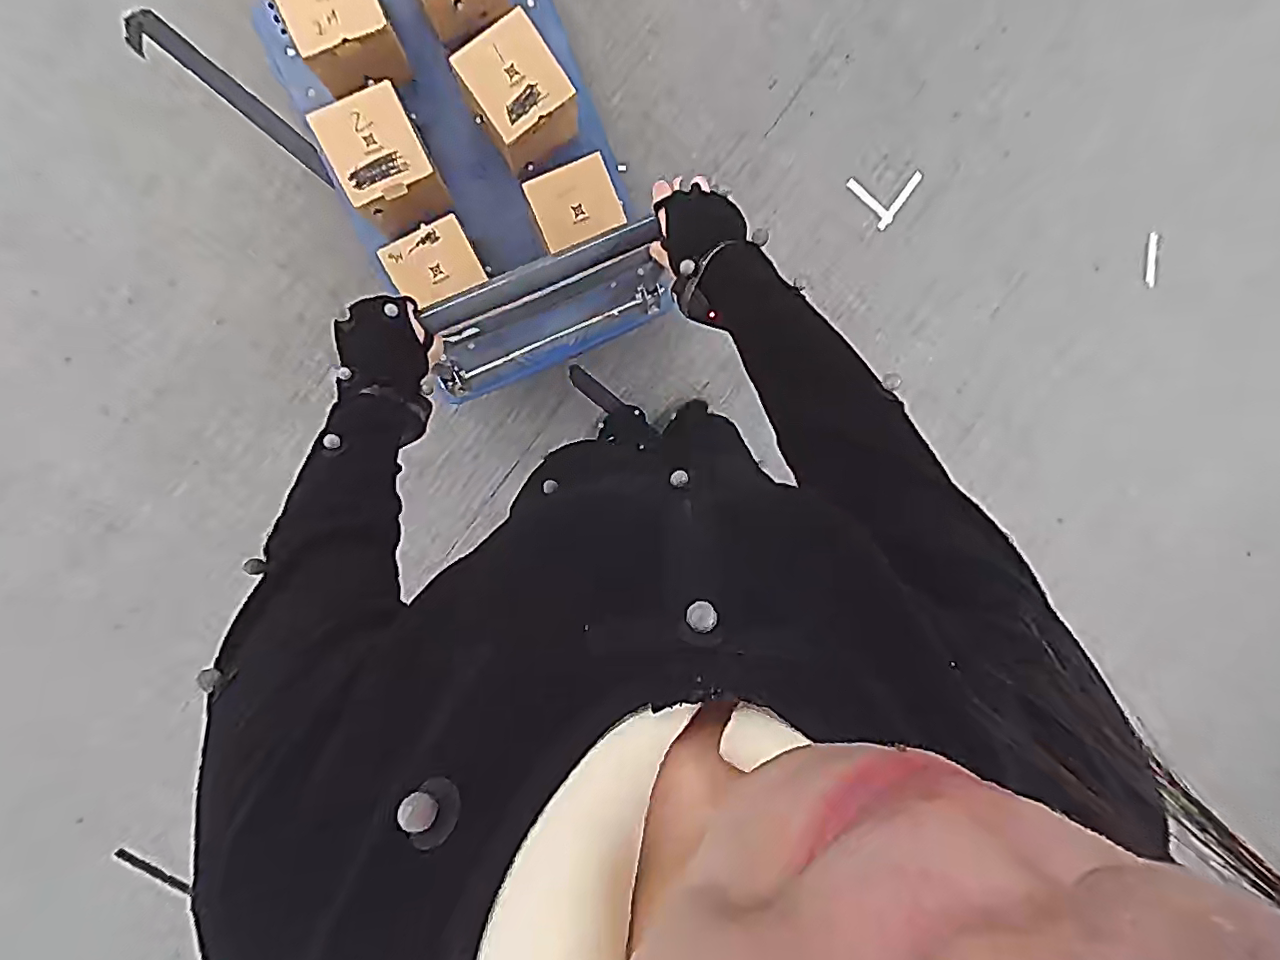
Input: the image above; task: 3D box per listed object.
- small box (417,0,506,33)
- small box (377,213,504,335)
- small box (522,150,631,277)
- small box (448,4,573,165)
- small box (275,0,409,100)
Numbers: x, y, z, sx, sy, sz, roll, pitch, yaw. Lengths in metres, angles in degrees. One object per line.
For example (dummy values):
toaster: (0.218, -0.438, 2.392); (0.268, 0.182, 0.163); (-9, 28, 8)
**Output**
small box: (-0.371, -1.001, 1.022); (0.168, 0.176, 0.179); (-28, 102, -1)
small box: (-0.398, -0.412, 1.118); (0.168, 0.176, 0.179); (-28, 102, -3)
small box: (-0.130, -0.542, 1.131); (0.168, 0.176, 0.179); (-24, 101, -3)
small box: (-0.246, -0.766, 1.077); (0.168, 0.176, 0.179); (-37, 101, 0)
small box: (-0.567, -0.871, 1.018); (0.168, 0.176, 0.179); (-23, 102, -2)
